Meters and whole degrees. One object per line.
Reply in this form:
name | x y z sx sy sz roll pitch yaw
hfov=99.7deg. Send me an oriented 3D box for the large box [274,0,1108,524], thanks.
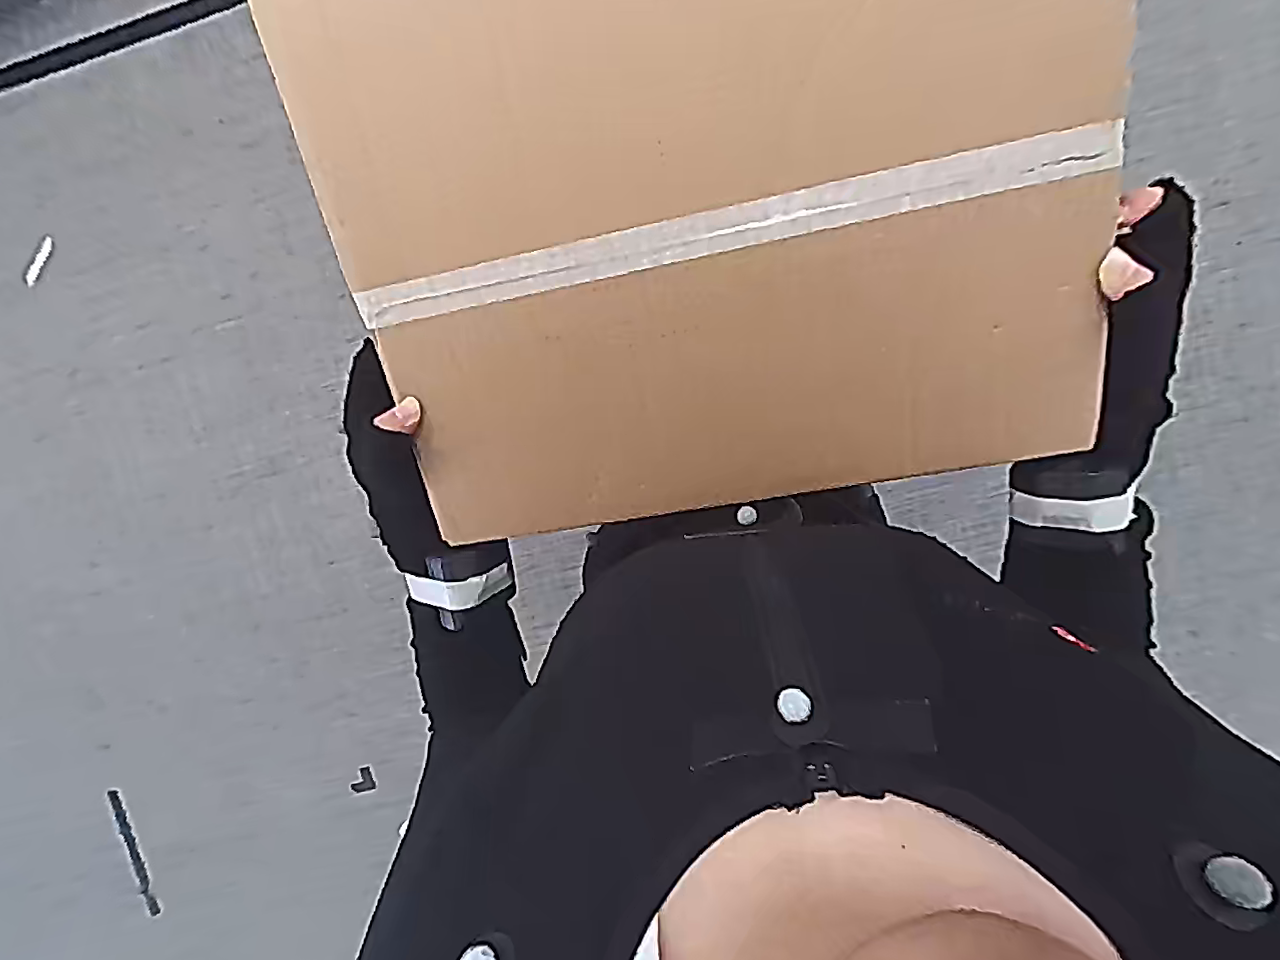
large box | 0.042 -0.194 0.437 0.408 0.320 0.320 -9 111 7
